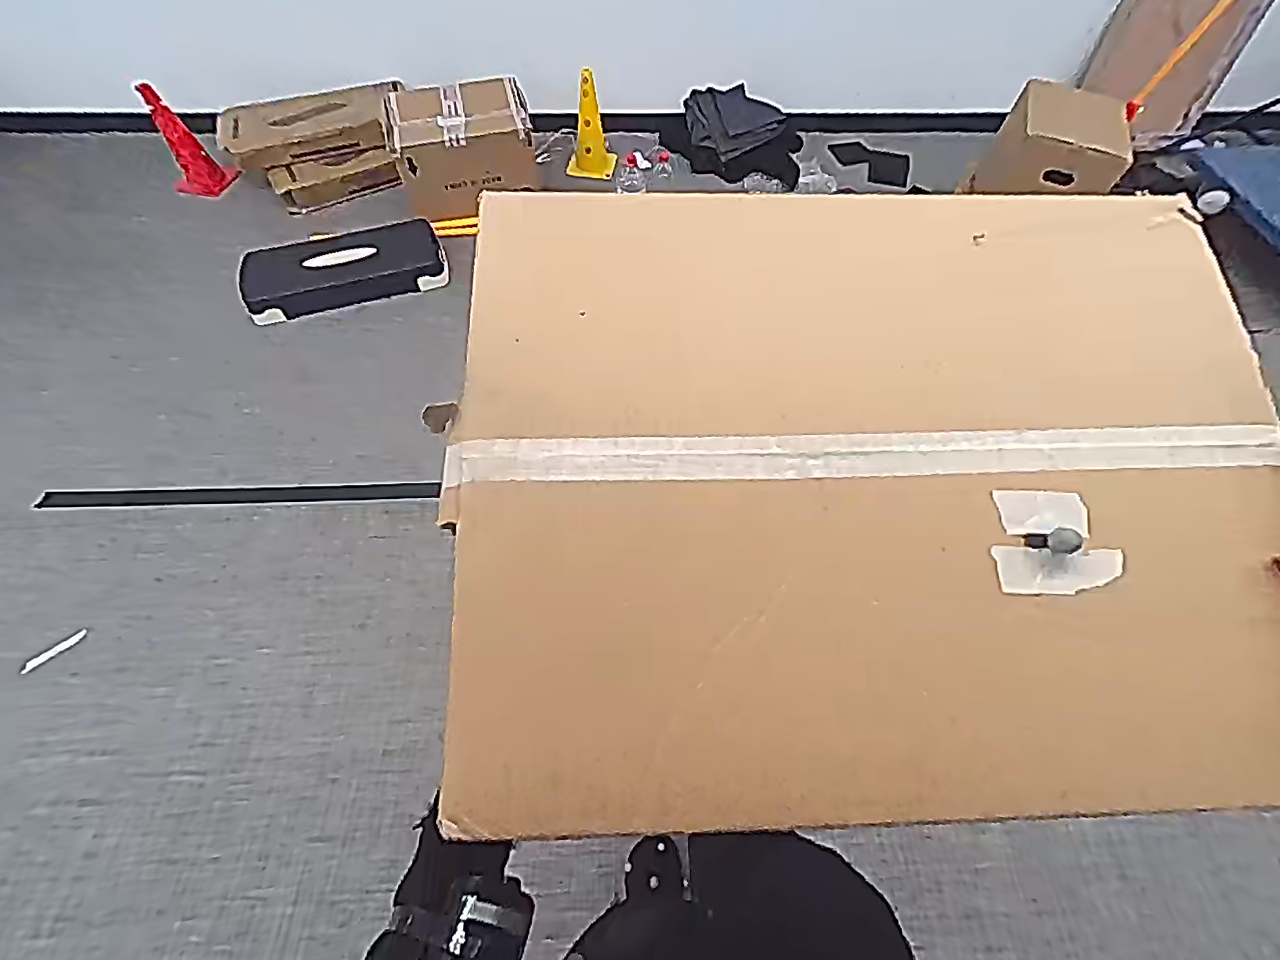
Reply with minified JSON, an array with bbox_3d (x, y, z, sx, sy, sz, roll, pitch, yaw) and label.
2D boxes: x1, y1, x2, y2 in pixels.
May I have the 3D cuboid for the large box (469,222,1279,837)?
[{"bbox_3d":[0.110,0.037,0.417,0.408,0.320,0.320,-1,74,-3],"label":"large box"}]
